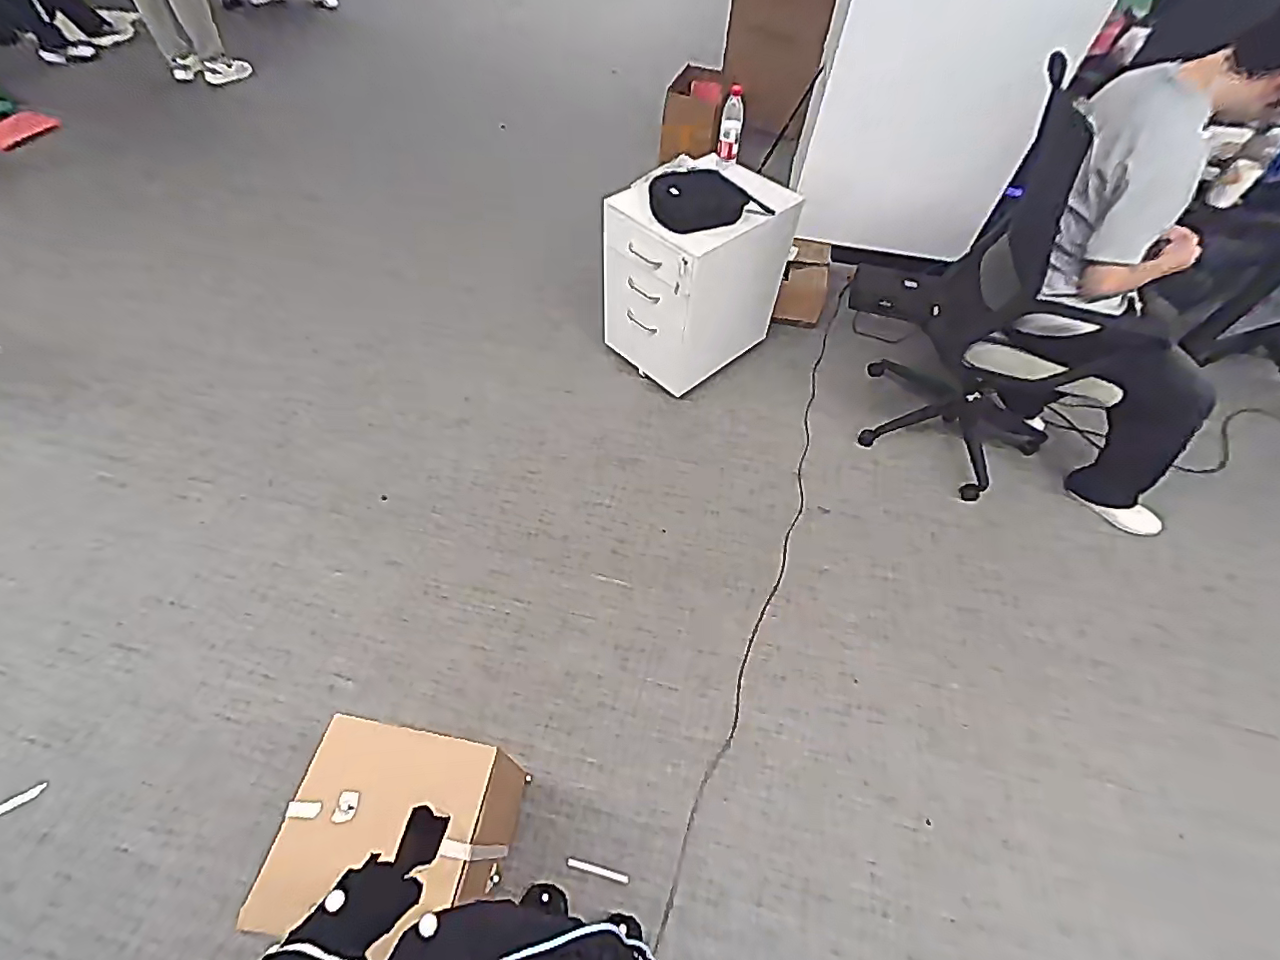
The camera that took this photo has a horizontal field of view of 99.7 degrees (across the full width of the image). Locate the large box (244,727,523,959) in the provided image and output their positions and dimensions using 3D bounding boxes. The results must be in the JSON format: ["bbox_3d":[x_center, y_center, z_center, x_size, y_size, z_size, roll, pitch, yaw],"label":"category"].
[{"bbox_3d":[-0.440,0.695,1.046,0.320,0.408,0.320,11,56,3],"label":"large box"}]
